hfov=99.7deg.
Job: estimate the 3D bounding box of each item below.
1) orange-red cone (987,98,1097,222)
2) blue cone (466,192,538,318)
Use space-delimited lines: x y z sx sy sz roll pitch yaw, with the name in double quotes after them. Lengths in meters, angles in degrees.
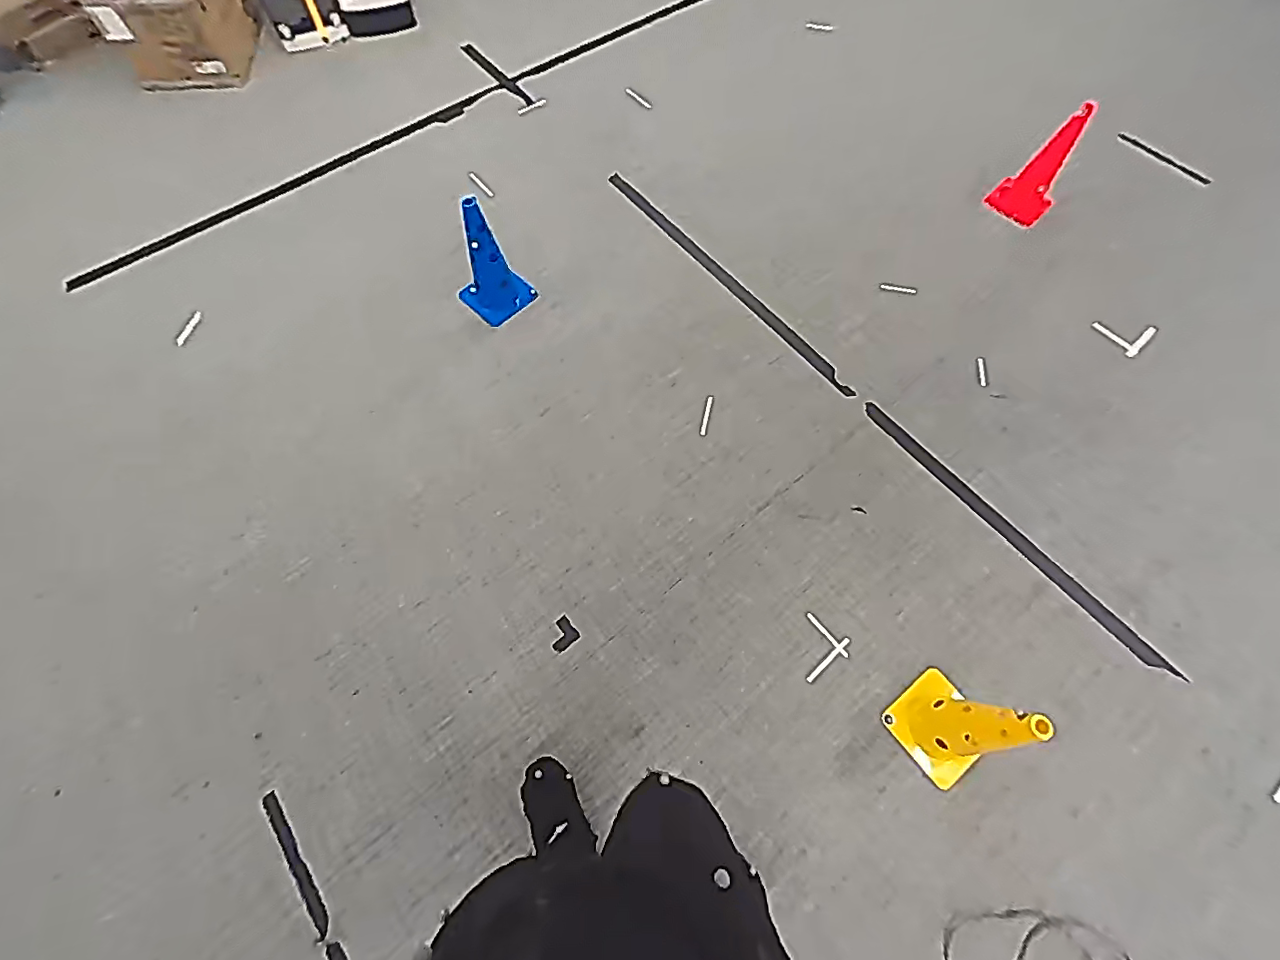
1.434 -1.131 1.880 0.198 0.360 0.199 -40 71 -18 "orange-red cone"
-0.462 -0.699 1.652 0.192 0.380 0.193 -41 72 -18 "blue cone"
